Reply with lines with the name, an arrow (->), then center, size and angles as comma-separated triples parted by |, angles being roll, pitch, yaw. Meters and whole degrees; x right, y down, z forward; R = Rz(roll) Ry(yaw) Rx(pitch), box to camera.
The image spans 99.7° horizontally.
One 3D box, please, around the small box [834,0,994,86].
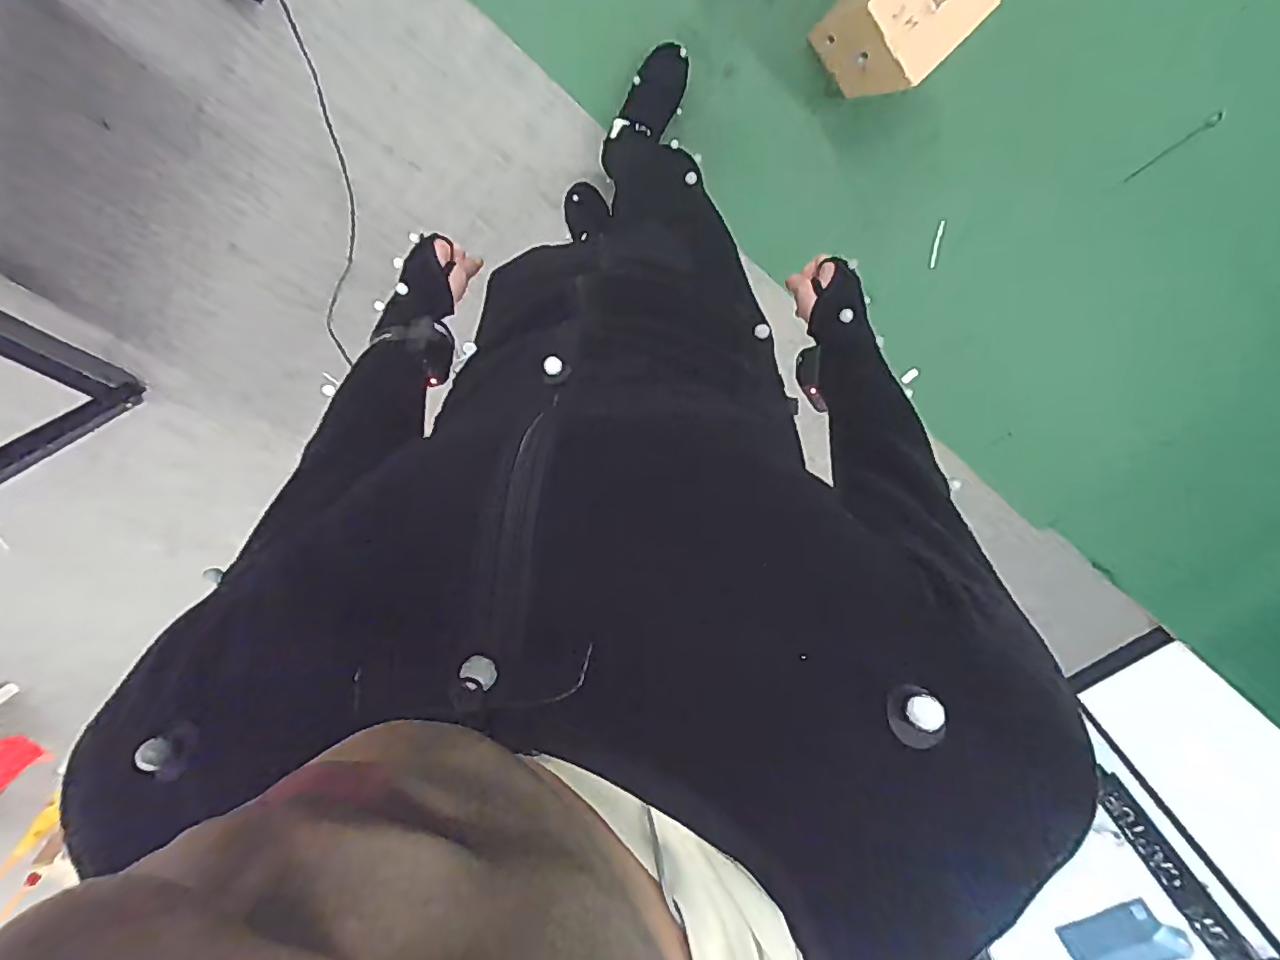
small box -> 0.491, -0.866, 0.989 | 0.179, 0.176, 0.168 | -40, 117, 21
